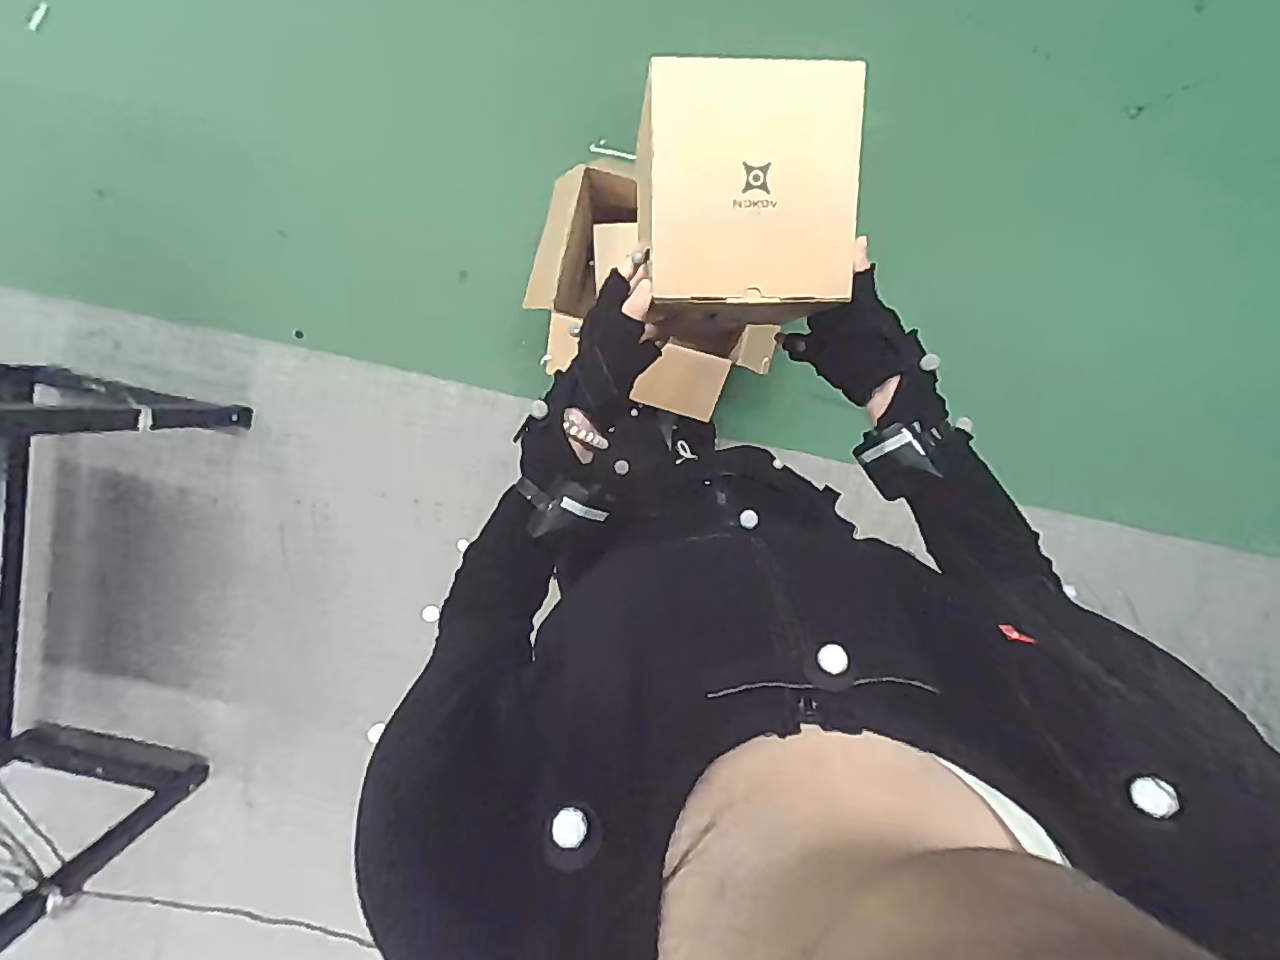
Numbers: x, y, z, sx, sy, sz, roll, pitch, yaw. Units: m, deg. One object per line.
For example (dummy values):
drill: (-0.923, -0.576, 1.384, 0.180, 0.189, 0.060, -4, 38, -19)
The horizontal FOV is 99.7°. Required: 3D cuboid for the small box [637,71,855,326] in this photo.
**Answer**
small box: (0.084, -0.246, 0.515, 0.168, 0.176, 0.179, -2, 101, -4)
